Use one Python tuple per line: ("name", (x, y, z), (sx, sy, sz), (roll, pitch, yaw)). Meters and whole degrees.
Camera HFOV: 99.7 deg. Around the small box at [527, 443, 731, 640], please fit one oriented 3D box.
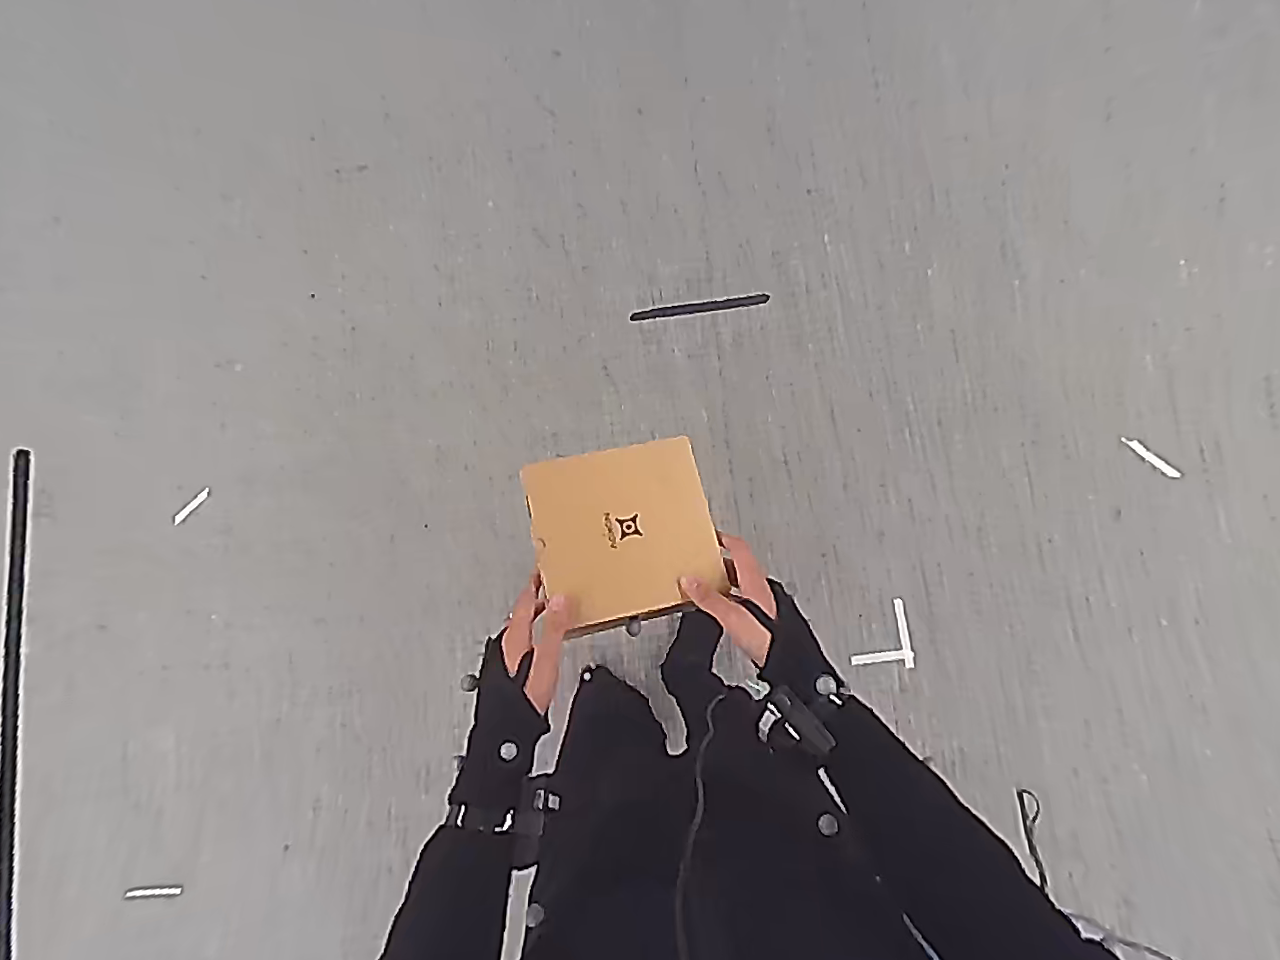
("small box", (-0.020, 0.076, 0.602), (0.179, 0.176, 0.168), (-12, 74, -9))
